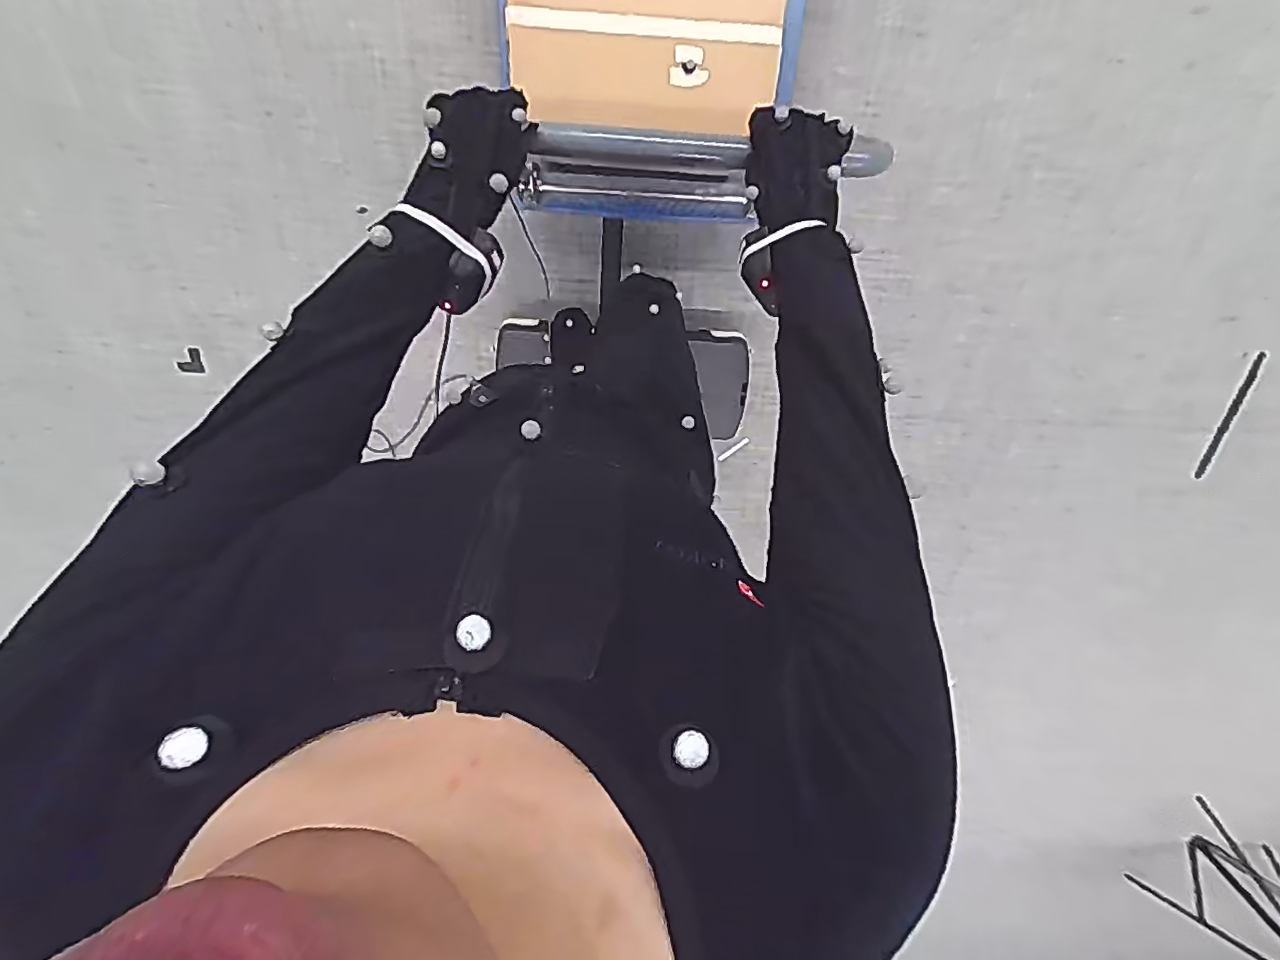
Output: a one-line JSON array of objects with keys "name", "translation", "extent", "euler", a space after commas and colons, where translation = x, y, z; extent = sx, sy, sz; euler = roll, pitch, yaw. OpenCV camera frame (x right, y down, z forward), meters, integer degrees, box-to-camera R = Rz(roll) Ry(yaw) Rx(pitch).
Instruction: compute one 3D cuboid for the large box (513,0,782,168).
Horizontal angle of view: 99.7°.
[{"name": "large box", "translation": [0.003, -0.743, 0.940], "extent": [0.408, 0.320, 0.320], "euler": [2, 116, -3]}]
